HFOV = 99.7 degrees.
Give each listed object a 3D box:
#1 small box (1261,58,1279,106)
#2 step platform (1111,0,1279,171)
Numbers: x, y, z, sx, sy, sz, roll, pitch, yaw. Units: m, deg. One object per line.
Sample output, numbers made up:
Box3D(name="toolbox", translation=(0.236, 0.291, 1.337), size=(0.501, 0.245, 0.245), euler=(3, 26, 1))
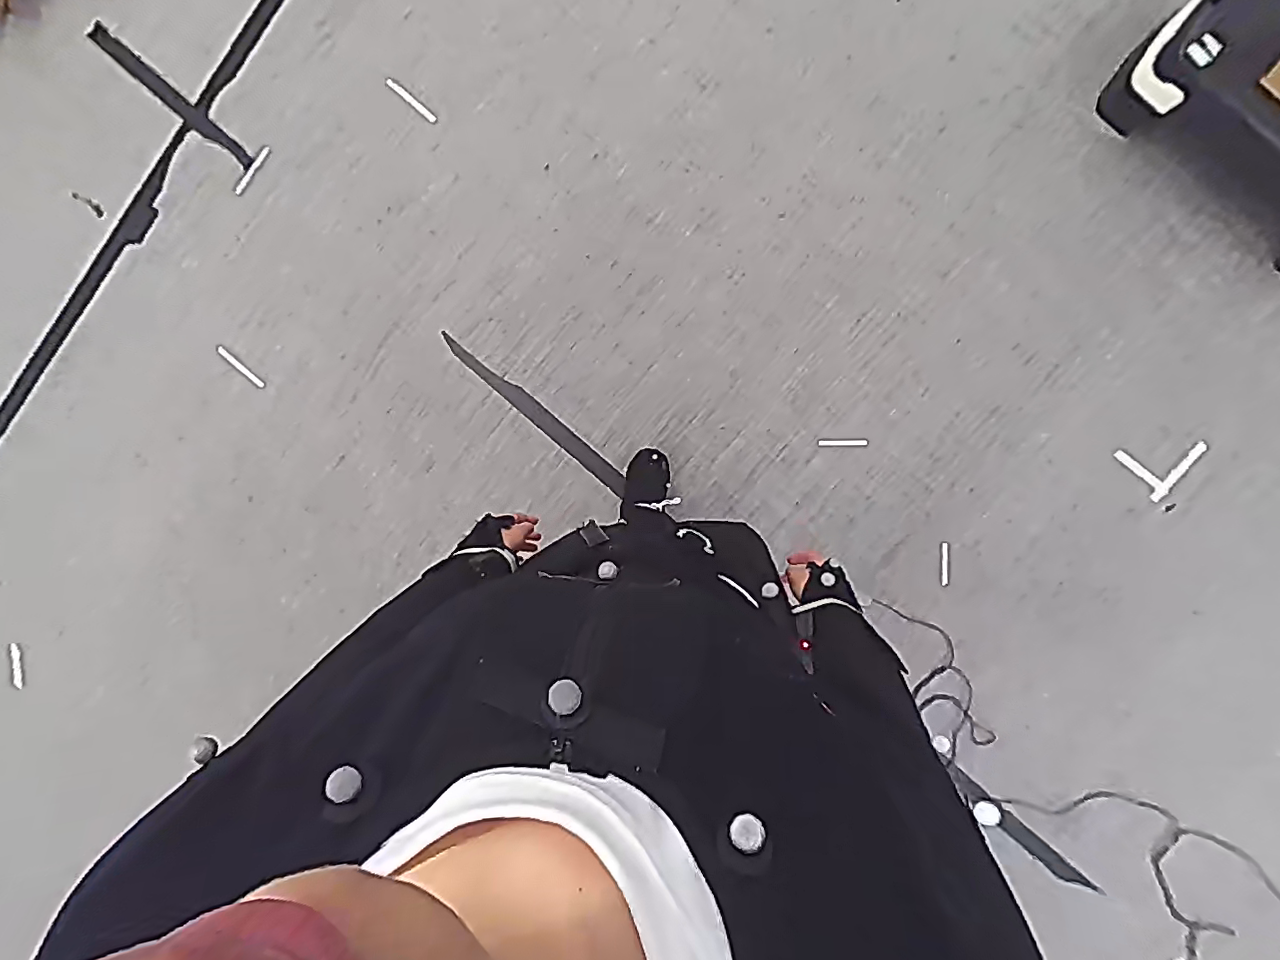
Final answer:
Box3D(name="small box", translation=(1.317, -0.780, 0.972), size=(0.168, 0.176, 0.179), euler=(42, 95, 0))
Box3D(name="step platform", translation=(1.401, -0.753, 1.143), size=(0.684, 0.204, 0.286), euler=(40, 95, 0))
